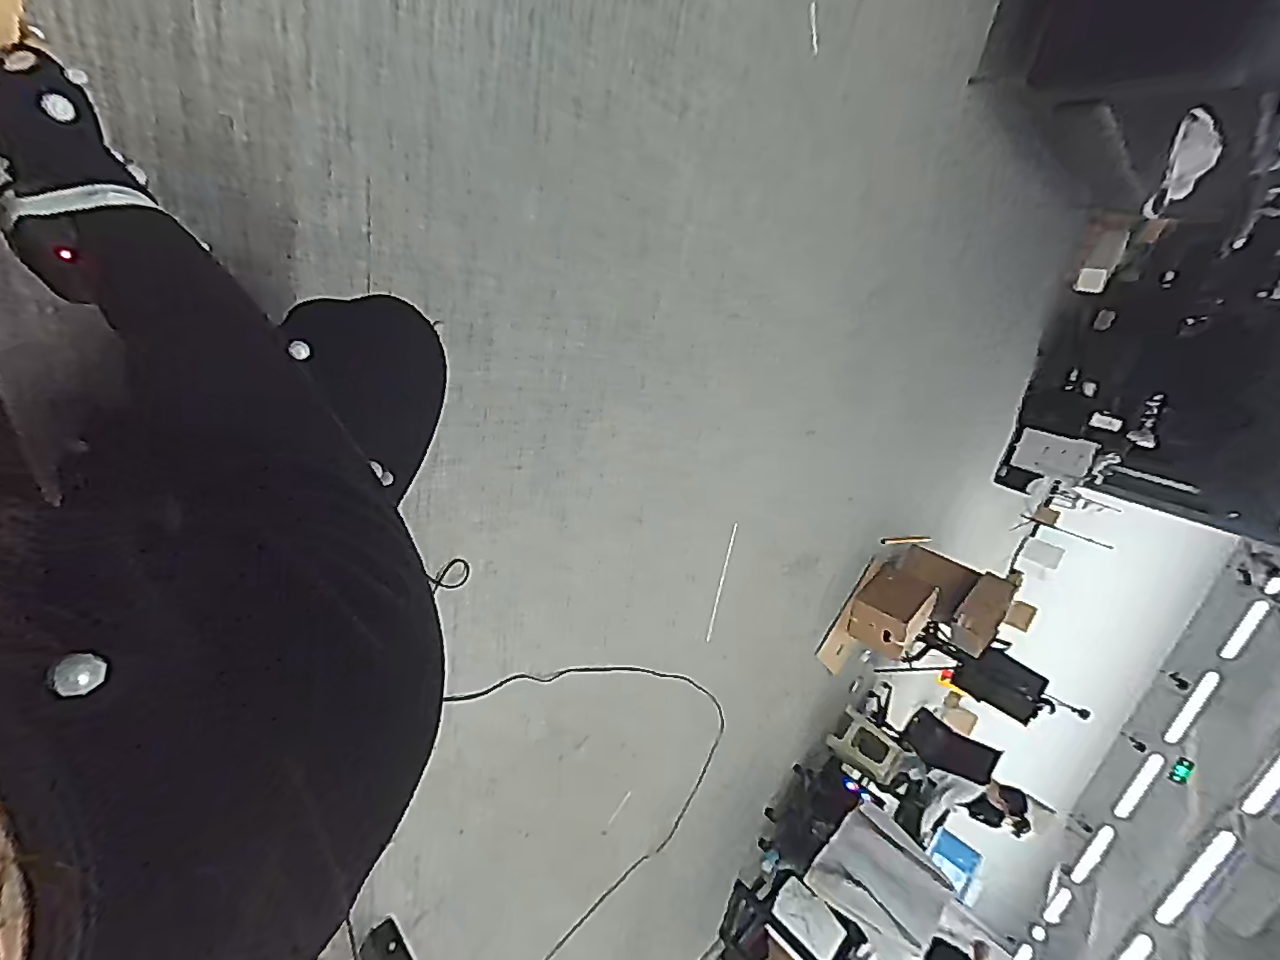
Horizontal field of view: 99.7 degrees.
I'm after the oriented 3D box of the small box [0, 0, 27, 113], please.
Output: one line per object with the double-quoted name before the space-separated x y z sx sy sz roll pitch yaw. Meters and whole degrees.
"small box" -0.574 -0.384 0.383 0.179 0.176 0.168 -7 116 -47
